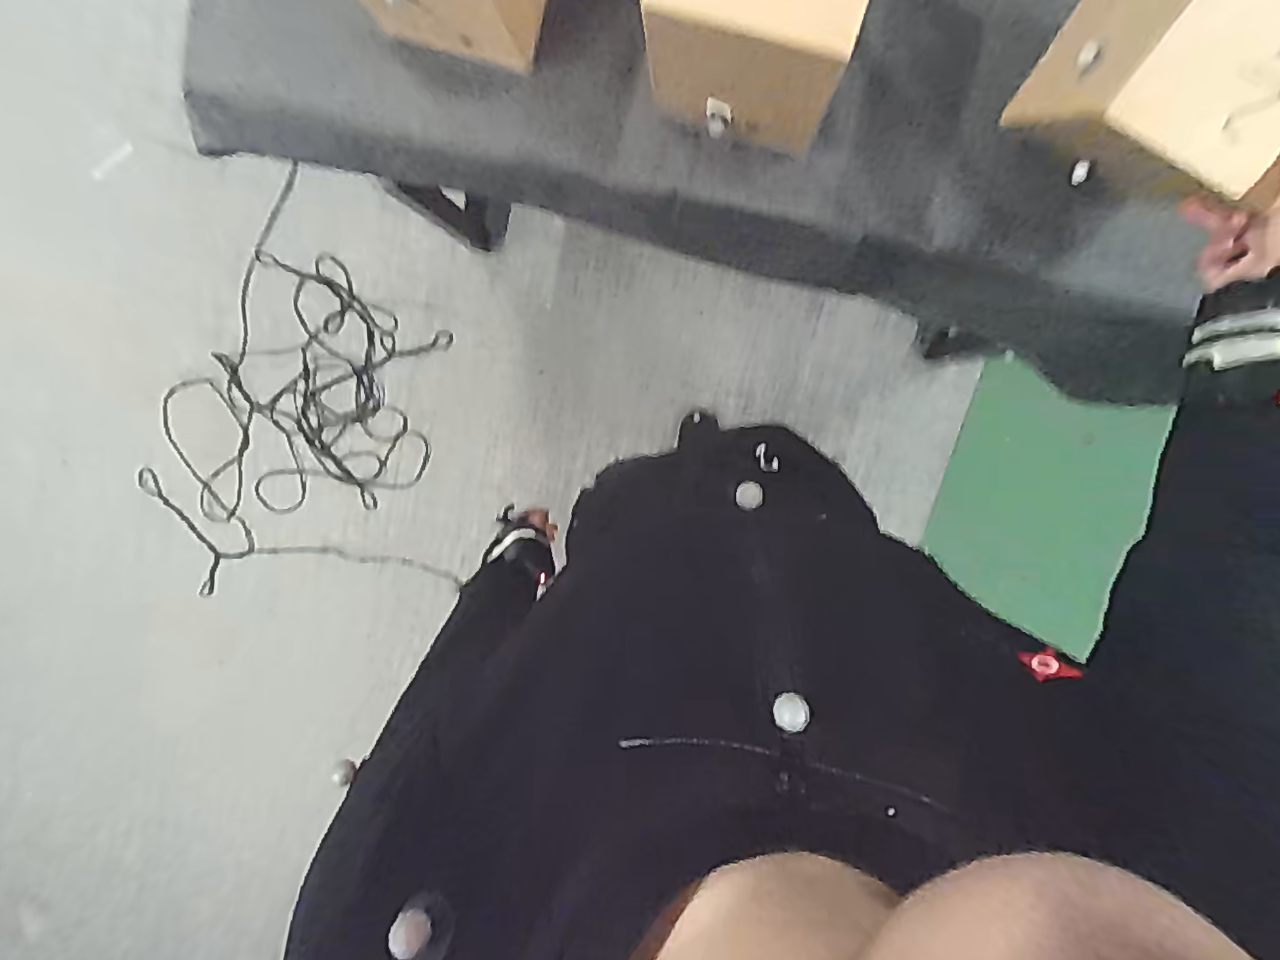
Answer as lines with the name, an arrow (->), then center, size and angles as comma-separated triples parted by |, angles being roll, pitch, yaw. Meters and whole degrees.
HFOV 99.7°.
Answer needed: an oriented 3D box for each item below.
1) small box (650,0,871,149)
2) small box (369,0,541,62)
small box -> 0.112, -0.430, 0.465 | 0.168, 0.176, 0.179 | 17, 100, 4
small box -> -0.178, -0.524, 0.479 | 0.168, 0.176, 0.179 | 17, 98, 3
